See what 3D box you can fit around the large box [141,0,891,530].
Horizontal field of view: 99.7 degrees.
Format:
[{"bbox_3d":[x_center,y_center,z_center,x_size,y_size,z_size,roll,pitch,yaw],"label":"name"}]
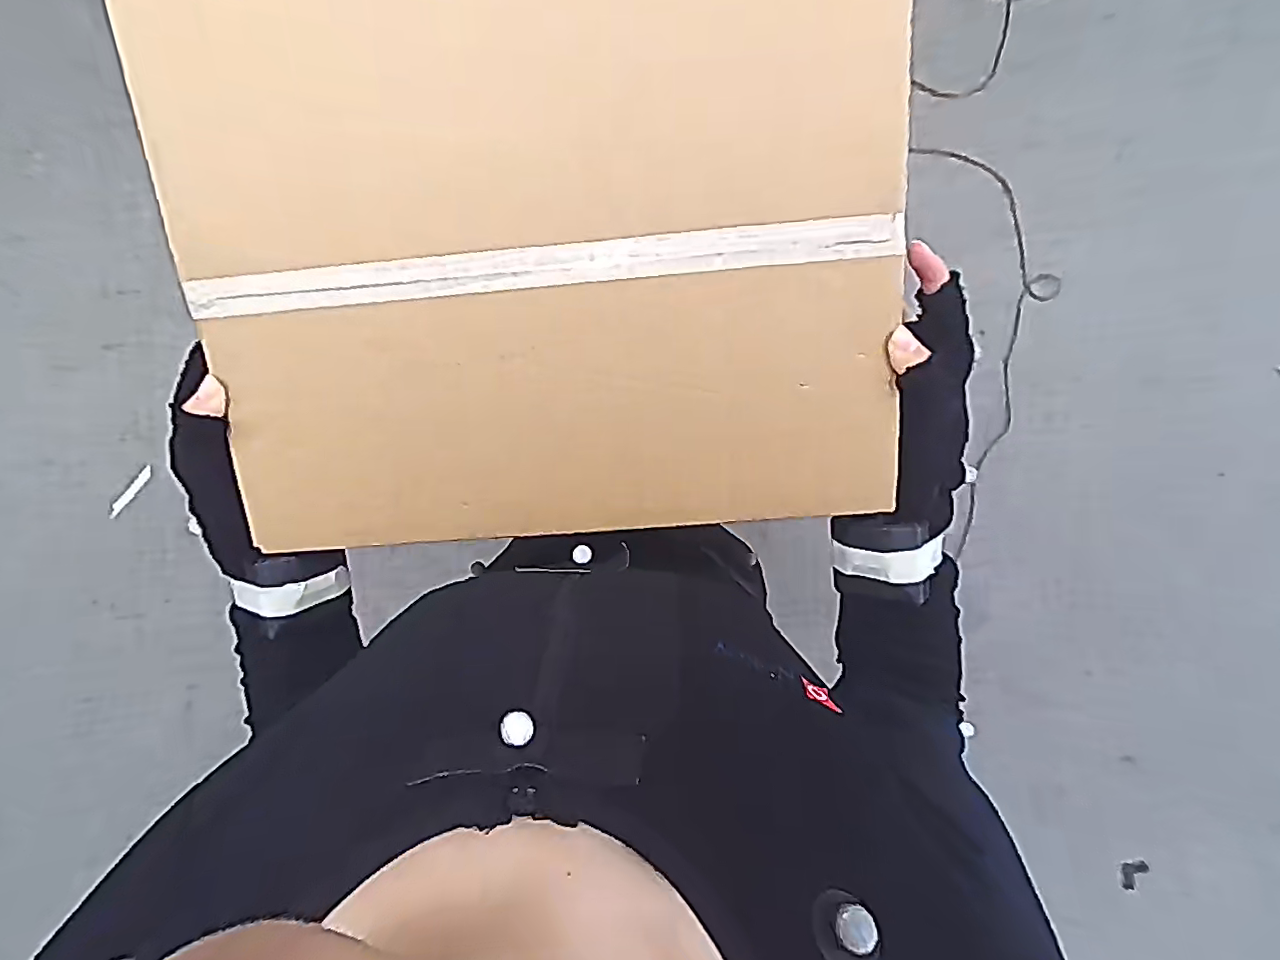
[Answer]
[{"bbox_3d":[-0.056,-0.166,0.458,0.408,0.320,0.320,-4,105,2],"label":"large box"}]
